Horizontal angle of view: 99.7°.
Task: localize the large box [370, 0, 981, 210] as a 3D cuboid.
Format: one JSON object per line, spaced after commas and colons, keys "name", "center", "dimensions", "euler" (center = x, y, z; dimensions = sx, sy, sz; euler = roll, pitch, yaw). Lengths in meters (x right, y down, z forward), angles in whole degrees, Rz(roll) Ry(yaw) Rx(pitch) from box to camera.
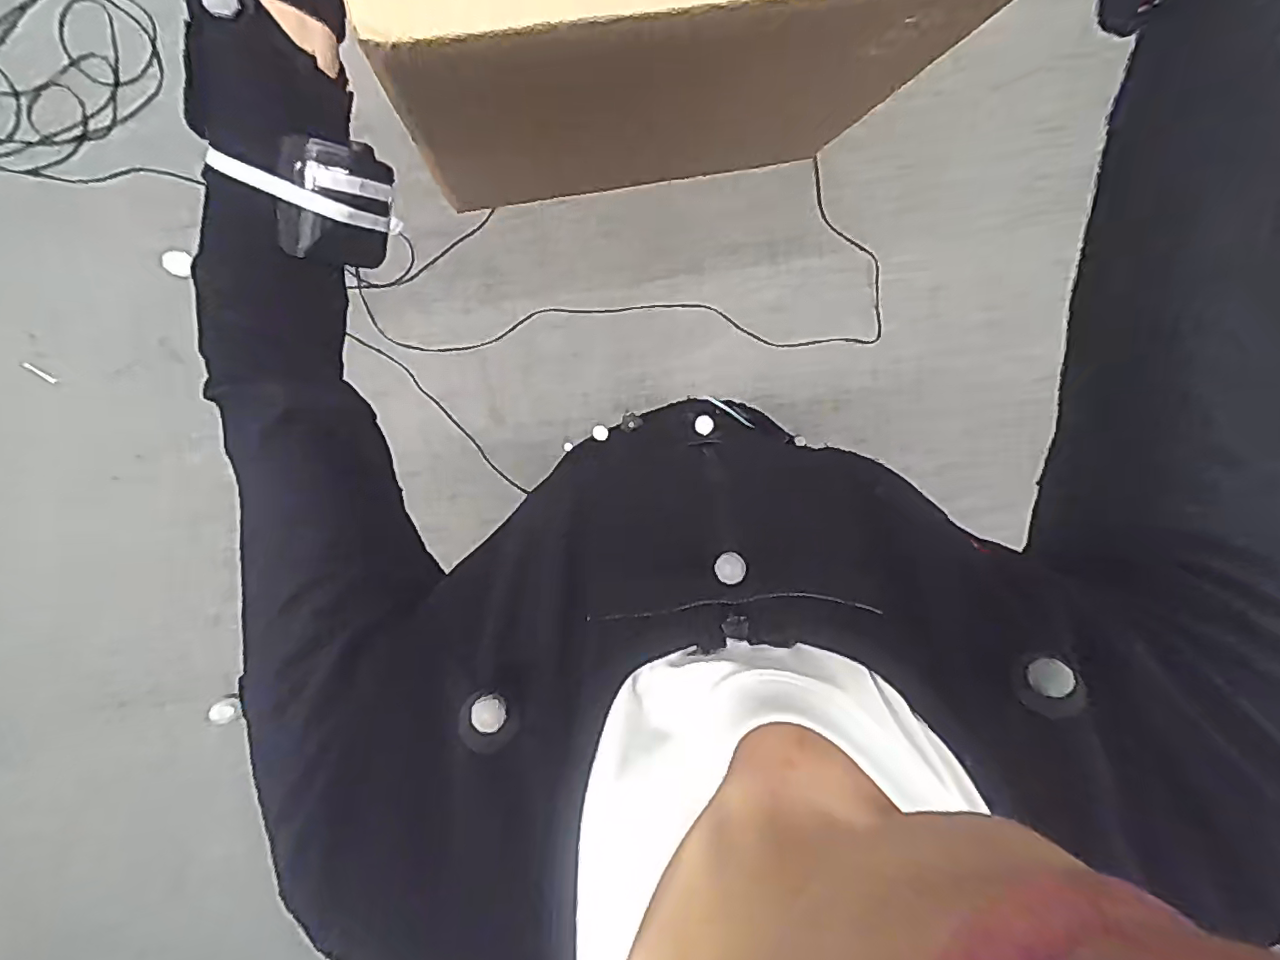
{"name": "large box", "center": [-0.002, -0.442, 0.413], "dimensions": [0.408, 0.320, 0.320], "euler": [-13, 103, -8]}
